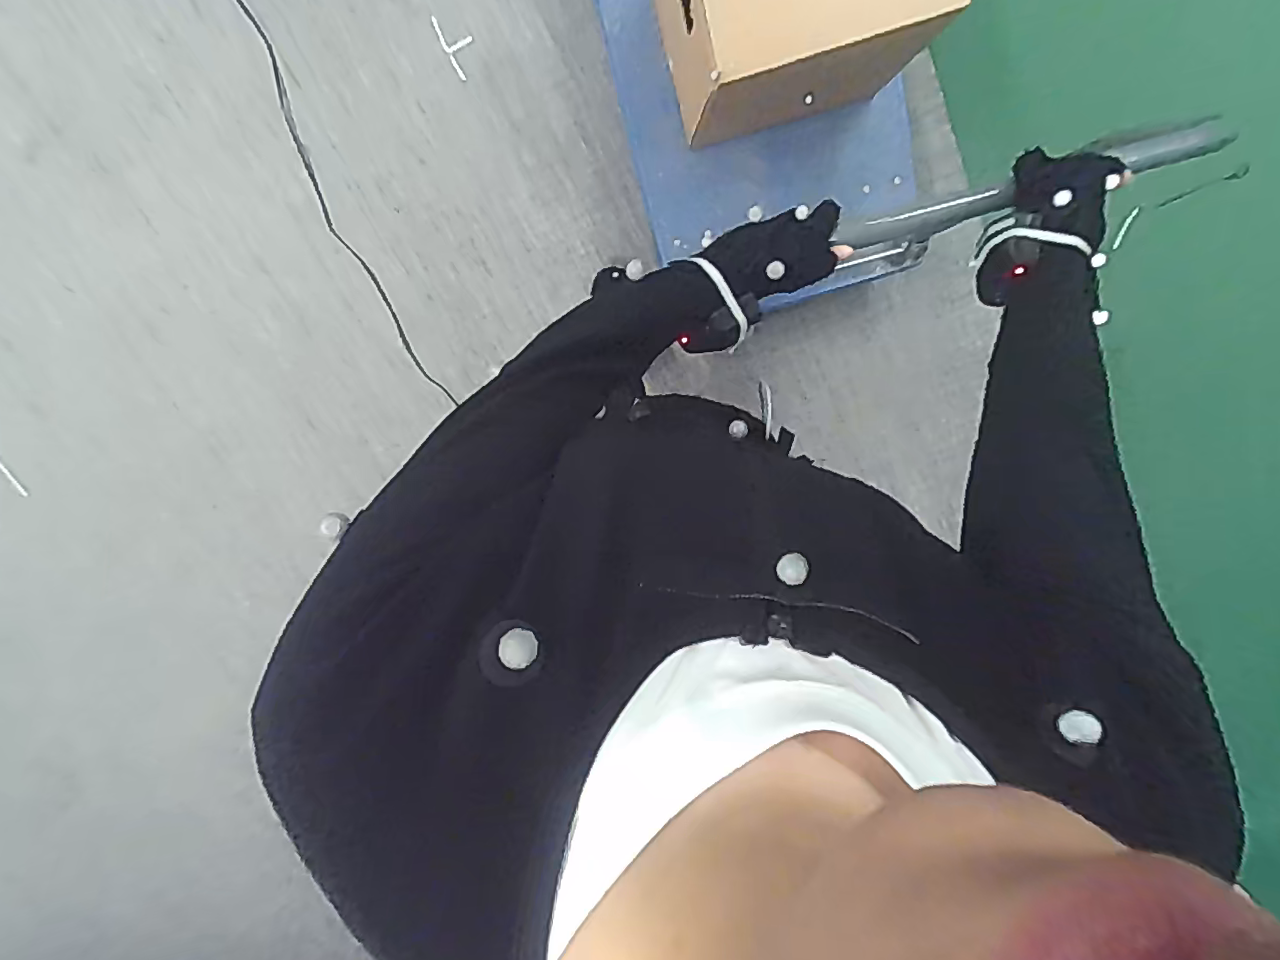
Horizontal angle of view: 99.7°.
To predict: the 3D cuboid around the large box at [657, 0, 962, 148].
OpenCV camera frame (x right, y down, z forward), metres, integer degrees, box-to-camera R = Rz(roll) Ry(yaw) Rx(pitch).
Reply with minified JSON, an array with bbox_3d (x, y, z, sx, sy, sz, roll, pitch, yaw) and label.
[{"bbox_3d":[0.263,-0.851,0.947,0.408,0.320,0.320,-17,105,2],"label":"large box"}]
